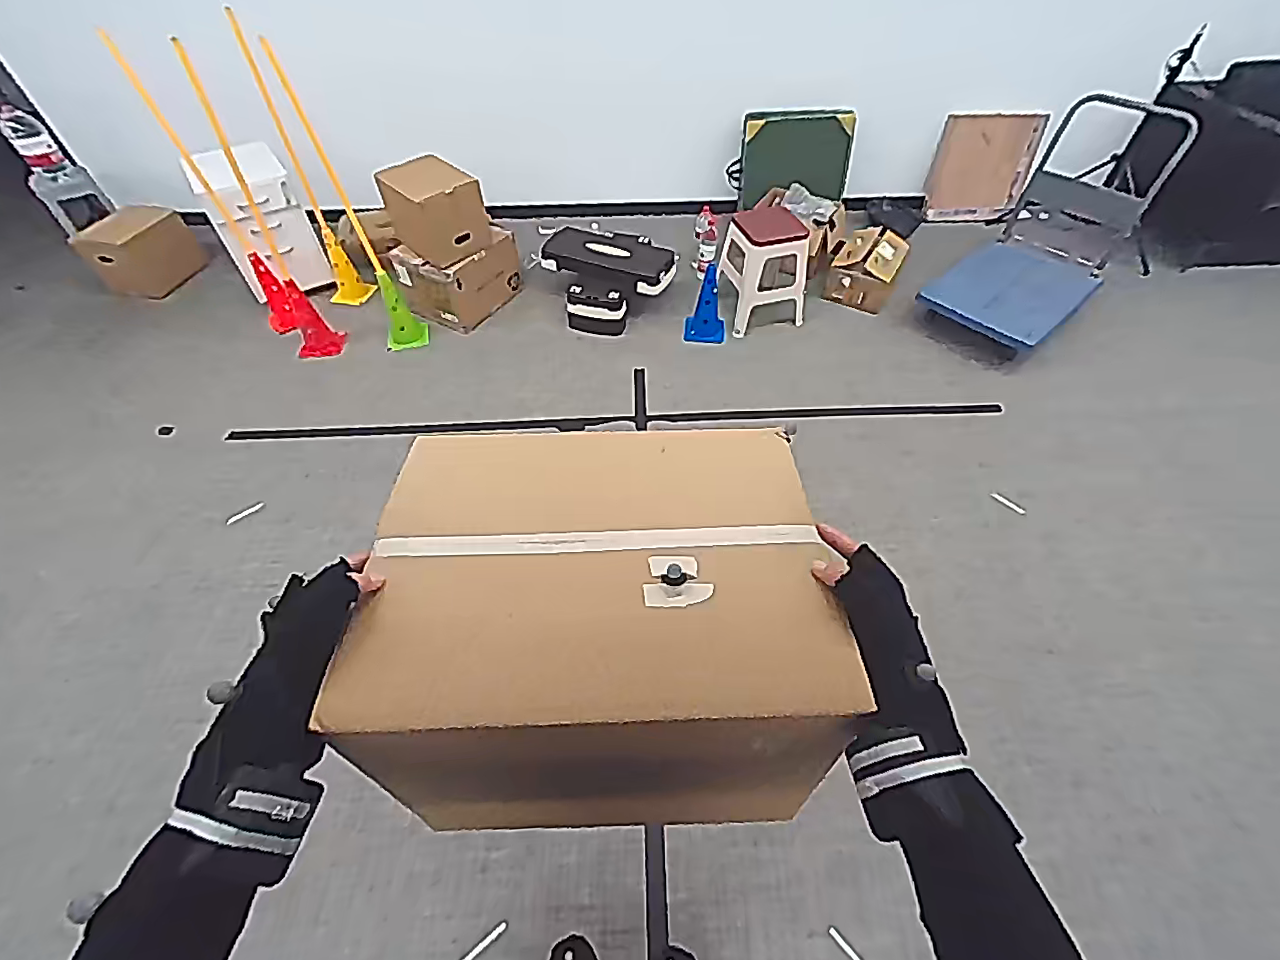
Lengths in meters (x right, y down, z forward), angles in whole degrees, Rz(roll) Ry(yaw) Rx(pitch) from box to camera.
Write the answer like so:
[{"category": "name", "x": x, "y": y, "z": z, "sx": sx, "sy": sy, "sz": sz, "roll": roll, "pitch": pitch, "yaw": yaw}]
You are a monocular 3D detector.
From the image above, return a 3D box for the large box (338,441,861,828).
[{"category": "large box", "x": -0.035, "y": 0.173, "z": 0.613, "sx": 0.408, "sy": 0.320, "sz": 0.320, "roll": -1, "pitch": 46, "yaw": -1}]
